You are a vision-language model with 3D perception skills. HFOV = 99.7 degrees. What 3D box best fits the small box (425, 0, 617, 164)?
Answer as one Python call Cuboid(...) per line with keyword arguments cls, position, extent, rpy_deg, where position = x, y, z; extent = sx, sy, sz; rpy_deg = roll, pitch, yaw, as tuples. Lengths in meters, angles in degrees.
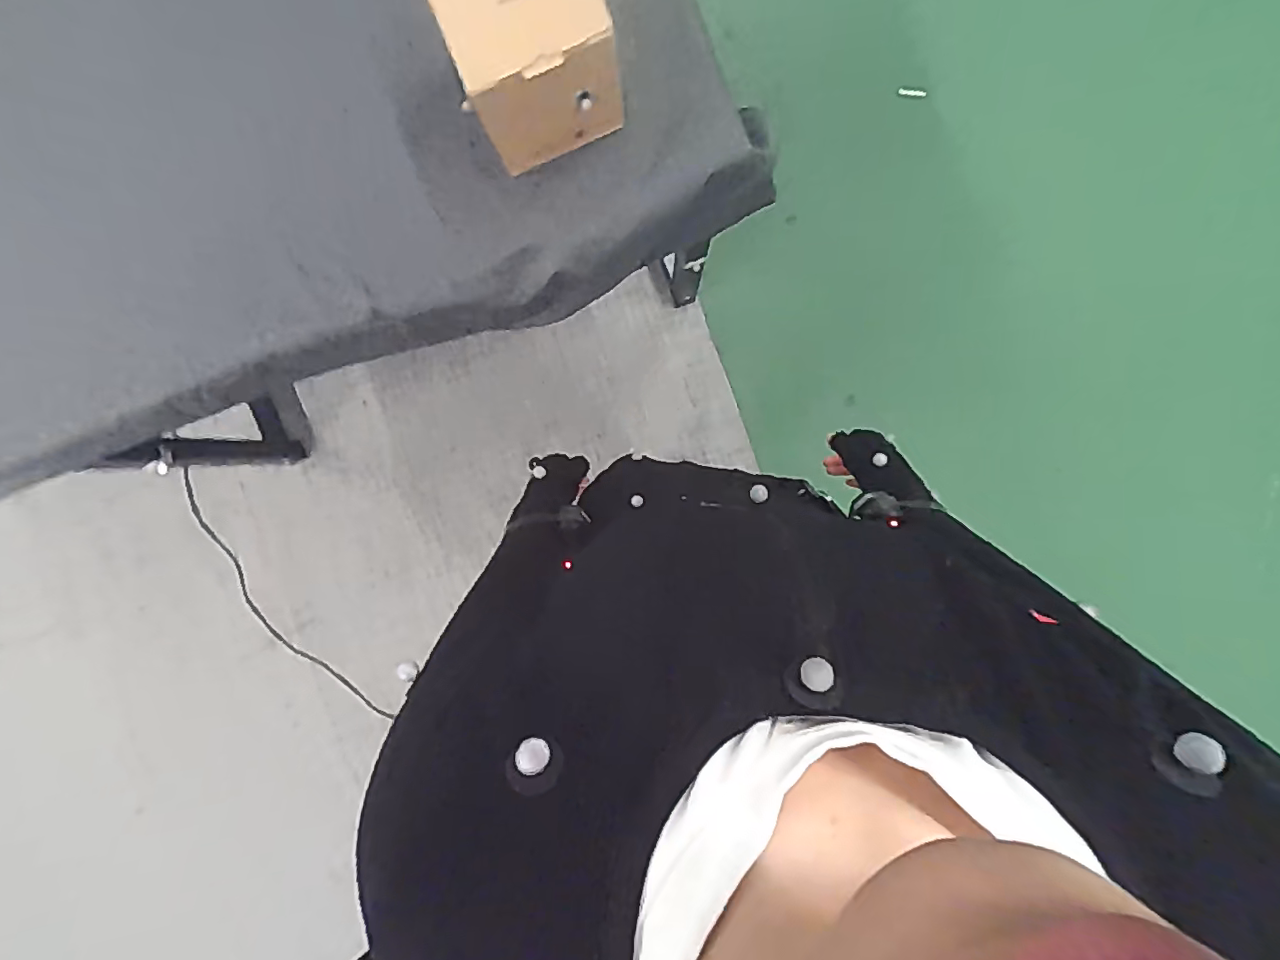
Cuboid(cls="small box", position=(-0.135, -0.508, 0.631), extent=(0.168, 0.176, 0.179), rpy_deg=(-24, 91, 2))
